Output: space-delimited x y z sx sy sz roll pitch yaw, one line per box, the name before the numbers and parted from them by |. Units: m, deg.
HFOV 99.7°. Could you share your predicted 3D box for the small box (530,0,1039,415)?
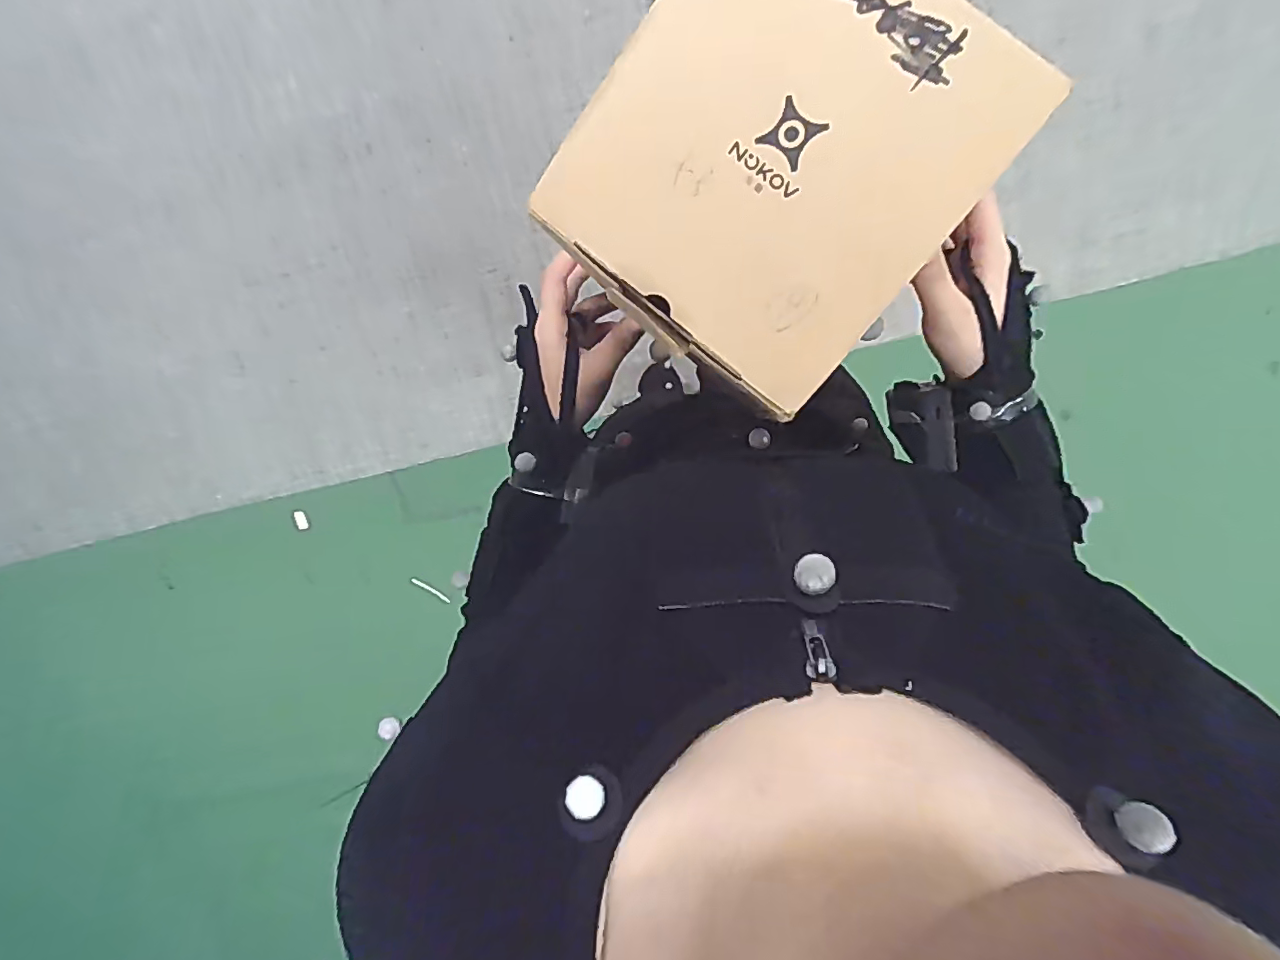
small box | 0.071 -0.156 0.328 0.168 0.176 0.179 40 102 3
